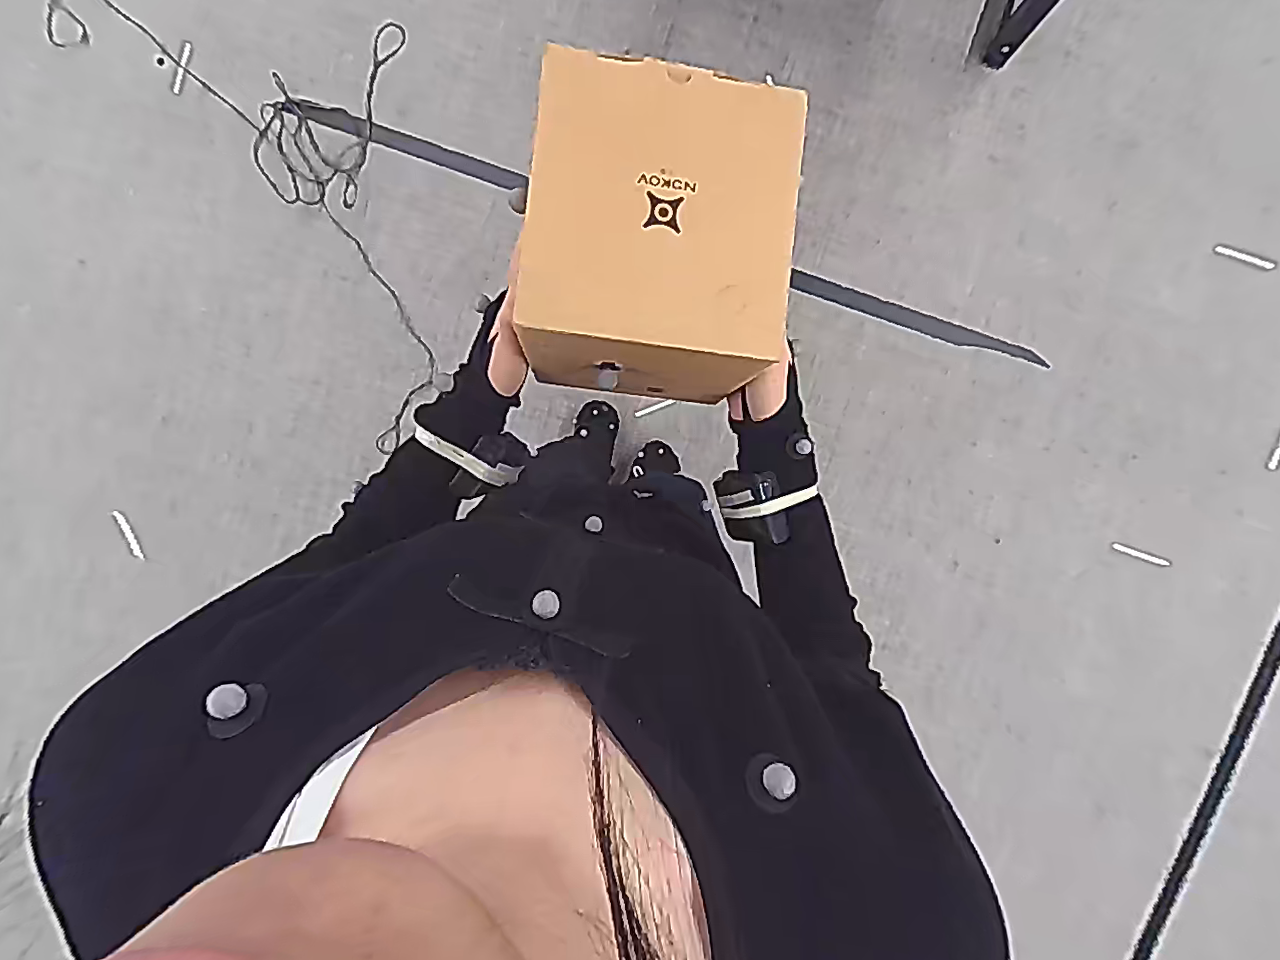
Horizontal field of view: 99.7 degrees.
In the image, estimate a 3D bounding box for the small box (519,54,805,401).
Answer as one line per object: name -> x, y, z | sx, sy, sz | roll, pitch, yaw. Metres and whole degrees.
small box -> 0.009, -0.165, 0.415 | 0.168, 0.176, 0.179 | 6, 87, -6
